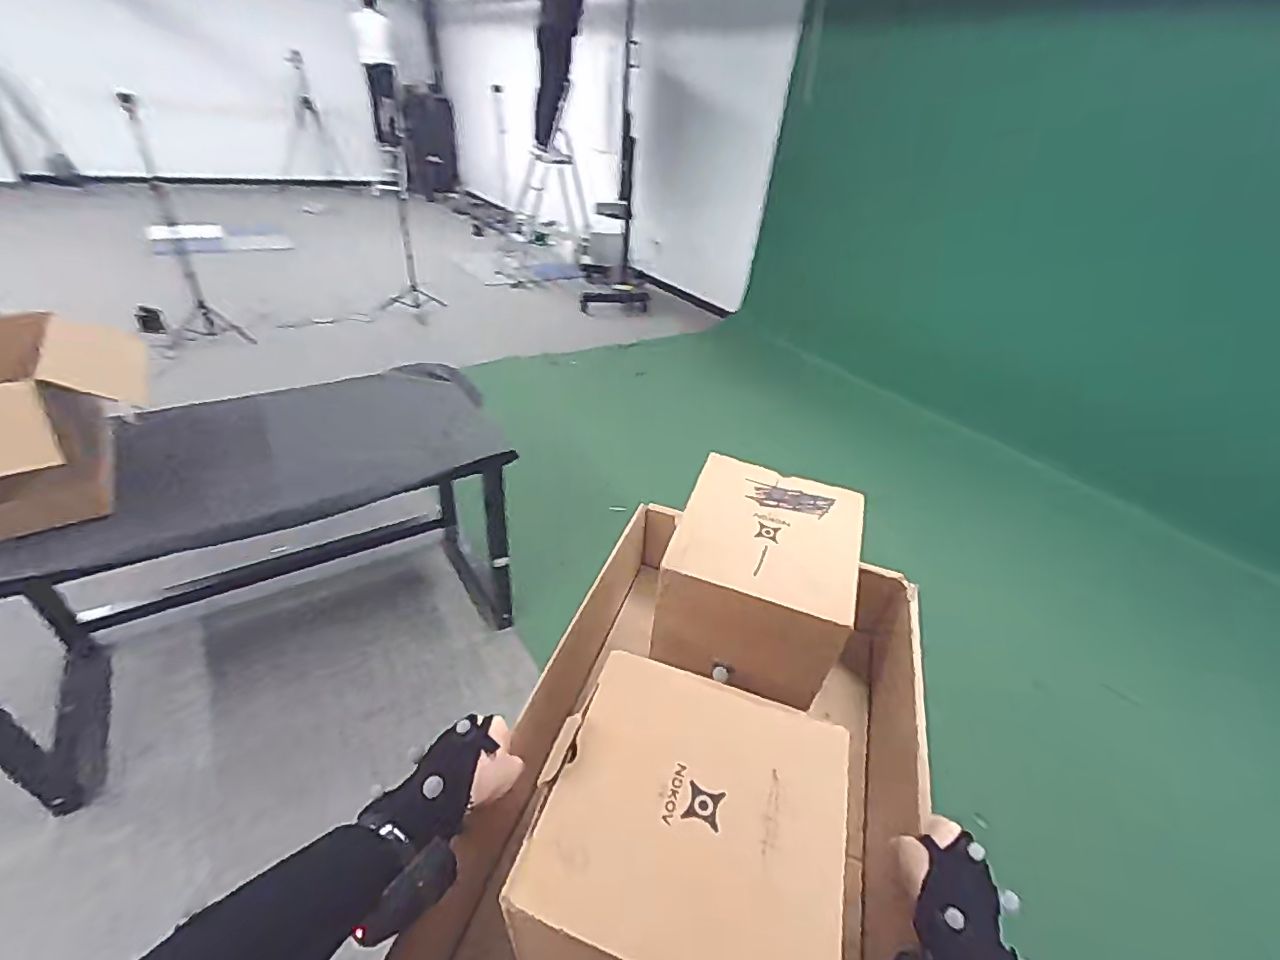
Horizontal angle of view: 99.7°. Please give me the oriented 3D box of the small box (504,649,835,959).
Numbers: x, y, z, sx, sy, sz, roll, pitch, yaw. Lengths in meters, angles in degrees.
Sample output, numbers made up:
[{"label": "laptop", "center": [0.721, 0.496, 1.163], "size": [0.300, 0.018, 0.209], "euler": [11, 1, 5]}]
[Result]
[{"label": "small box", "center": [0.024, 0.259, 0.388], "size": [0.179, 0.176, 0.168], "euler": [16, 41, 11]}]
